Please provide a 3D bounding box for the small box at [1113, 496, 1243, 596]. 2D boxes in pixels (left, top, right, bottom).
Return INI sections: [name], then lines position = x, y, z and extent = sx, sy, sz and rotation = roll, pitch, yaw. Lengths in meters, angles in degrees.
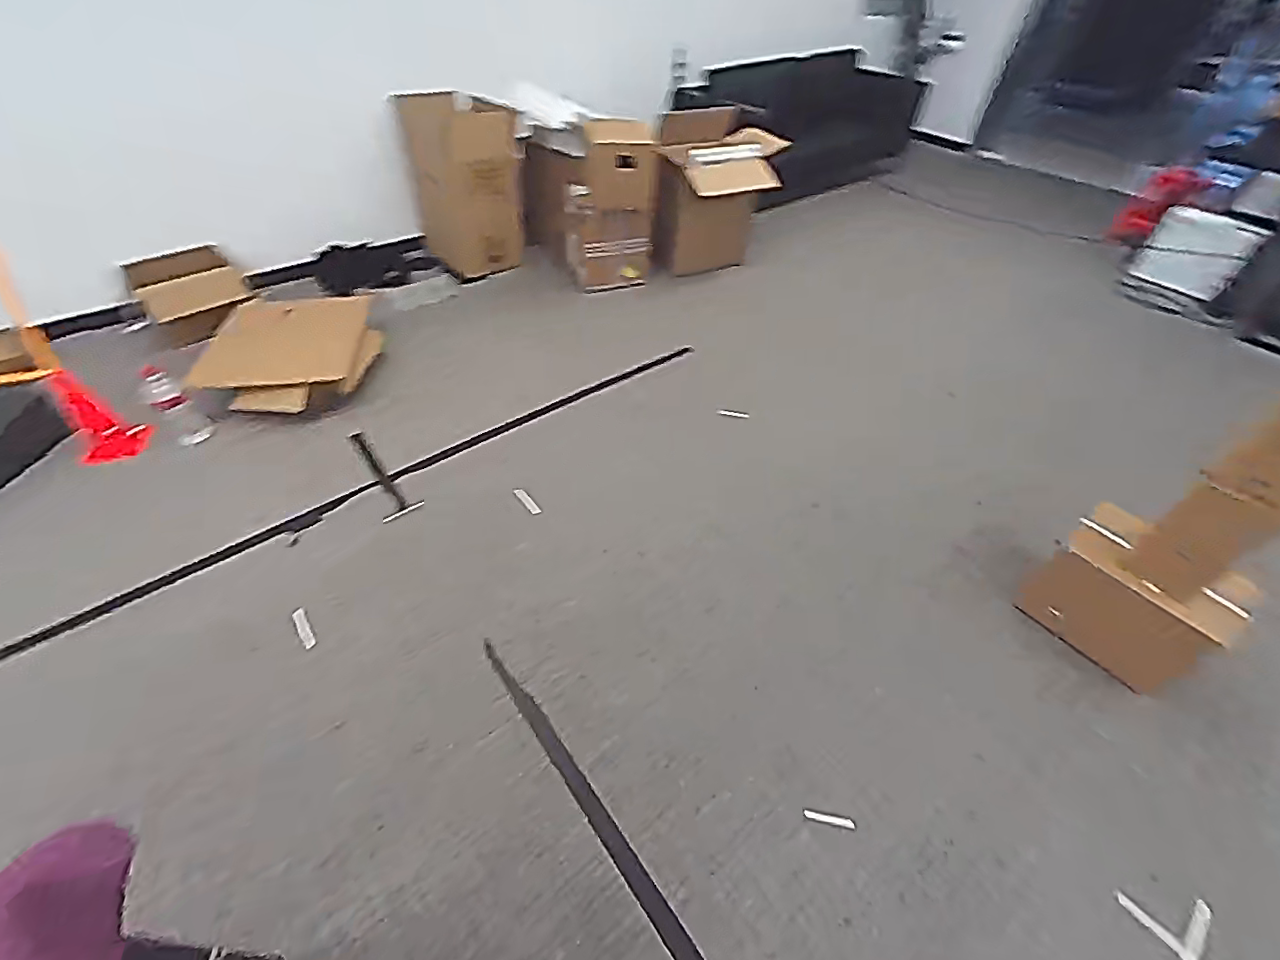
[small box]
position = 1.462, 0.182, 1.480
extent = 0.168, 0.176, 0.179
rotation = -31, 55, -27
